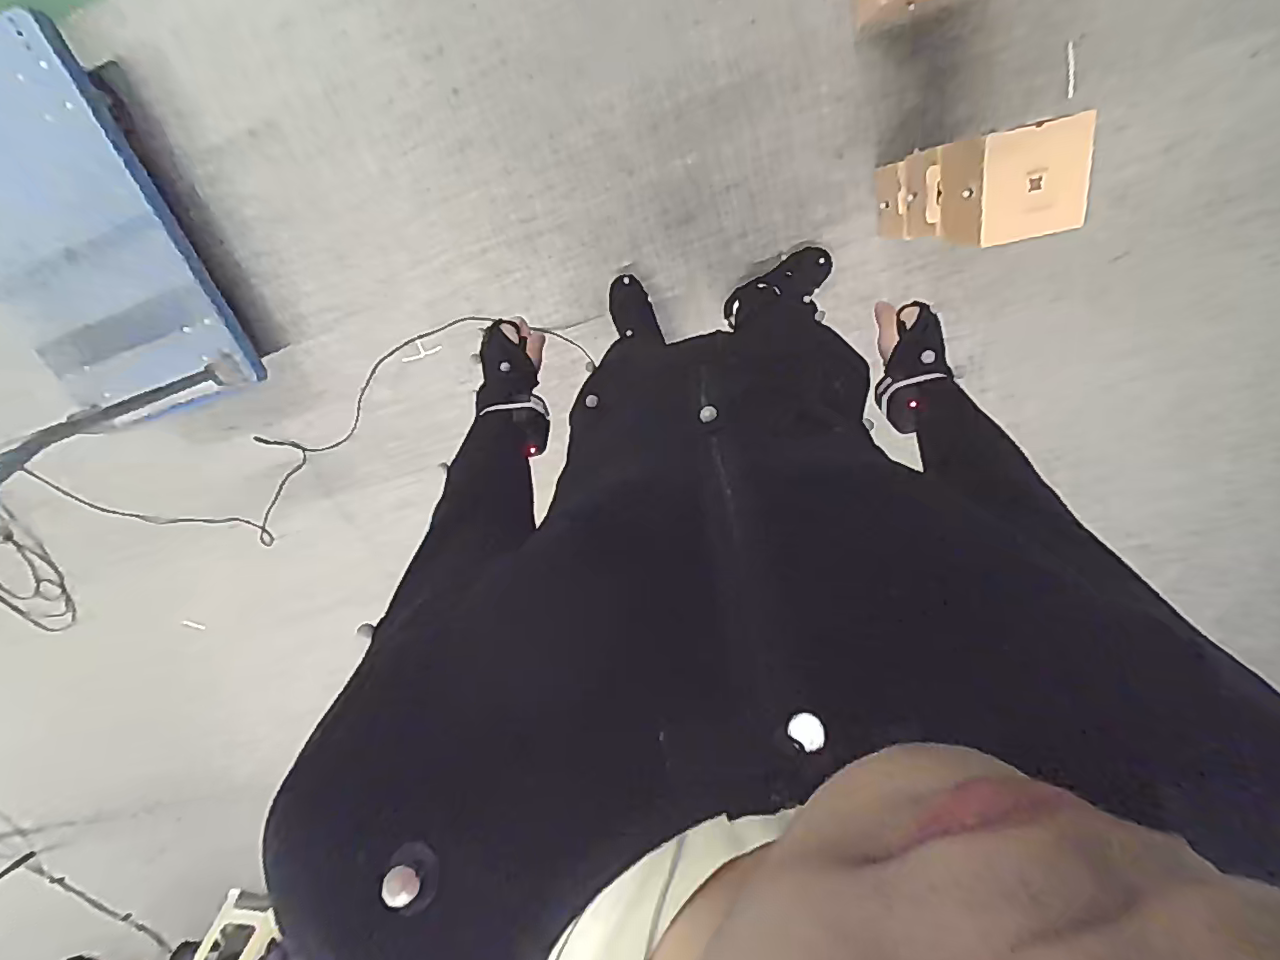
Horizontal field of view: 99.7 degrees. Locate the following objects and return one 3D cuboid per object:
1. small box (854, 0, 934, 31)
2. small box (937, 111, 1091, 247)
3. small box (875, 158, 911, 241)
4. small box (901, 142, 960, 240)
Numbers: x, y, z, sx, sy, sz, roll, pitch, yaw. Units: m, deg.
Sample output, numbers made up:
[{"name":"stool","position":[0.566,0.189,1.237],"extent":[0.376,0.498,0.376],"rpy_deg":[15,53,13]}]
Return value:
[{"name":"small box","position":[0.541,-1.052,1.094],"extent":[0.179,0.176,0.168],"rpy_deg":[-10,114,7]},{"name":"small box","position":[0.654,-0.526,0.968],"extent":[0.168,0.176,0.179],"rpy_deg":[-8,114,8]},{"name":"small box","position":[0.663,-0.668,1.264],"extent":[0.179,0.176,0.168],"rpy_deg":[-12,114,10]},{"name":"small box","position":[0.663,-0.601,1.114],"extent":[0.179,0.176,0.168],"rpy_deg":[-8,113,8]}]
